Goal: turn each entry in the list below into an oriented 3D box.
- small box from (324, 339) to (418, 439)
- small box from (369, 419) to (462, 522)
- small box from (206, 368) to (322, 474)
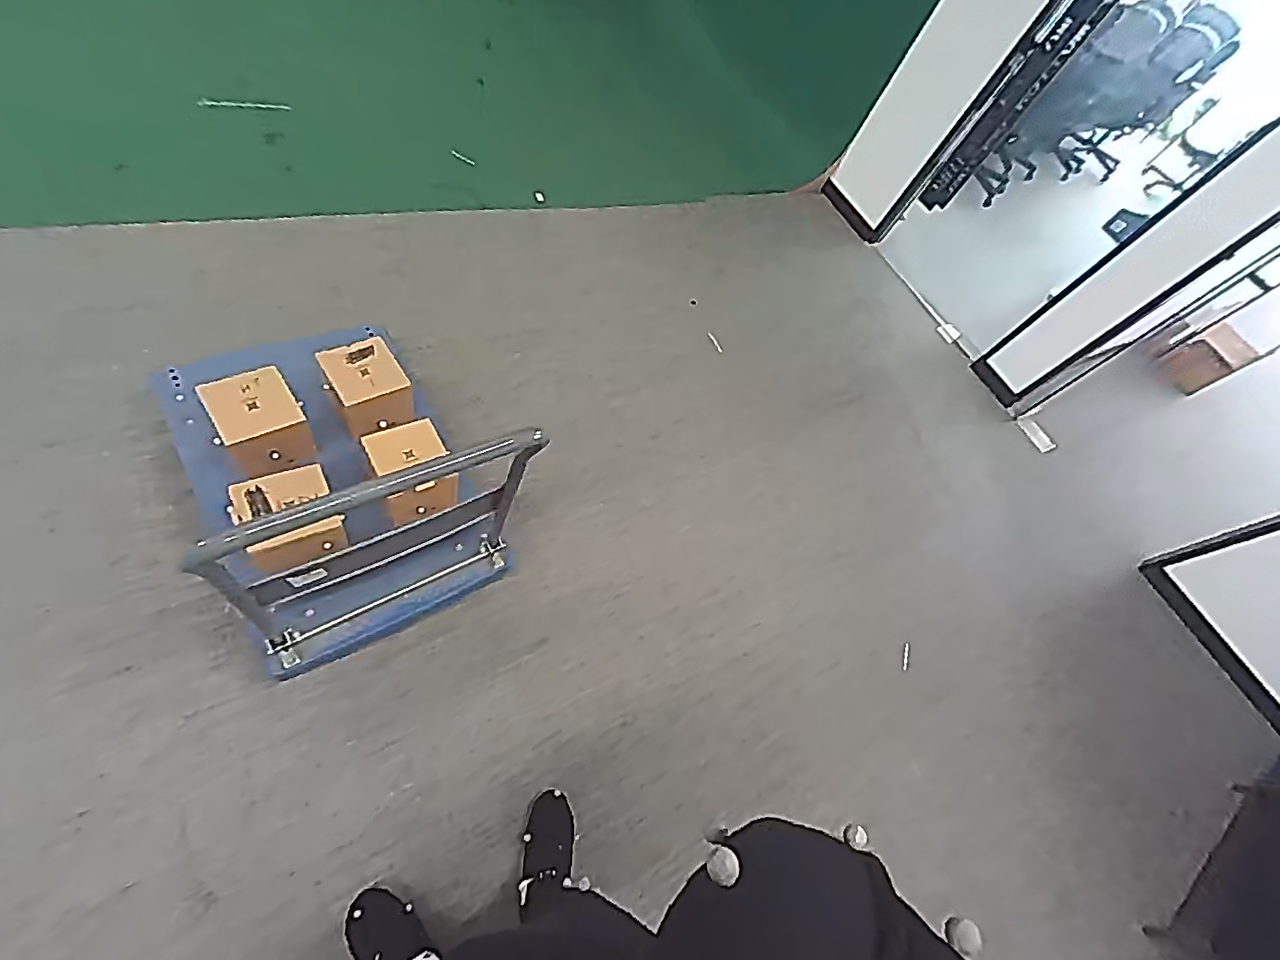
[{"bbox_3d":[-0.713,-0.240,1.444,0.168,0.176,0.179,-29,76,-30],"label":"small box"},{"bbox_3d":[-0.569,-0.022,1.376,0.168,0.176,0.179,-23,72,-30],"label":"small box"},{"bbox_3d":[-0.902,-0.136,1.315,0.168,0.176,0.179,-28,75,-32],"label":"small box"}]
